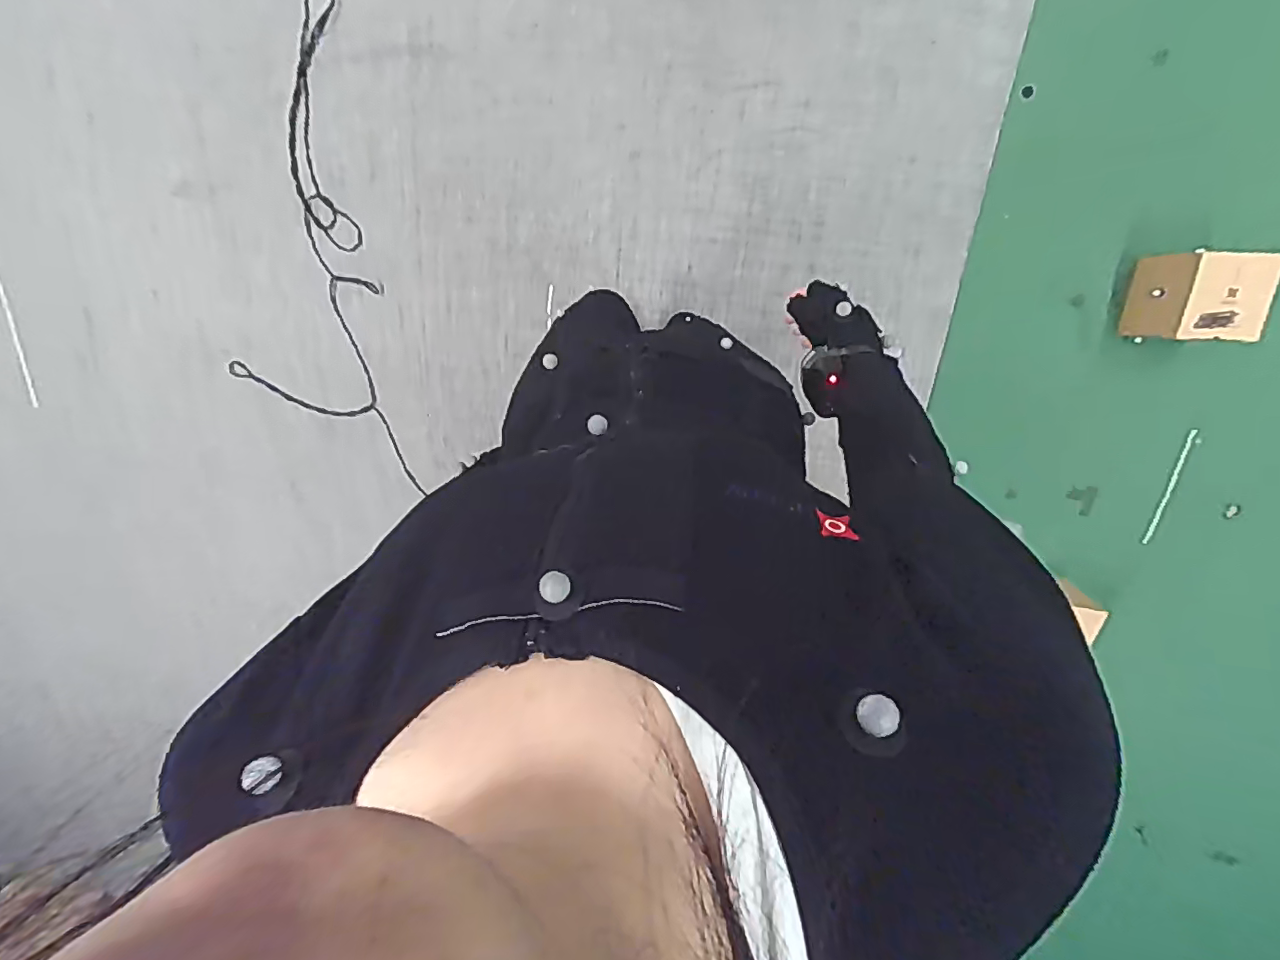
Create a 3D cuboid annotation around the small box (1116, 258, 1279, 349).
[{"bbox_3d":[1.217,-0.388,1.199,0.168,0.176,0.179,3,107,3],"label":"small box"}]
